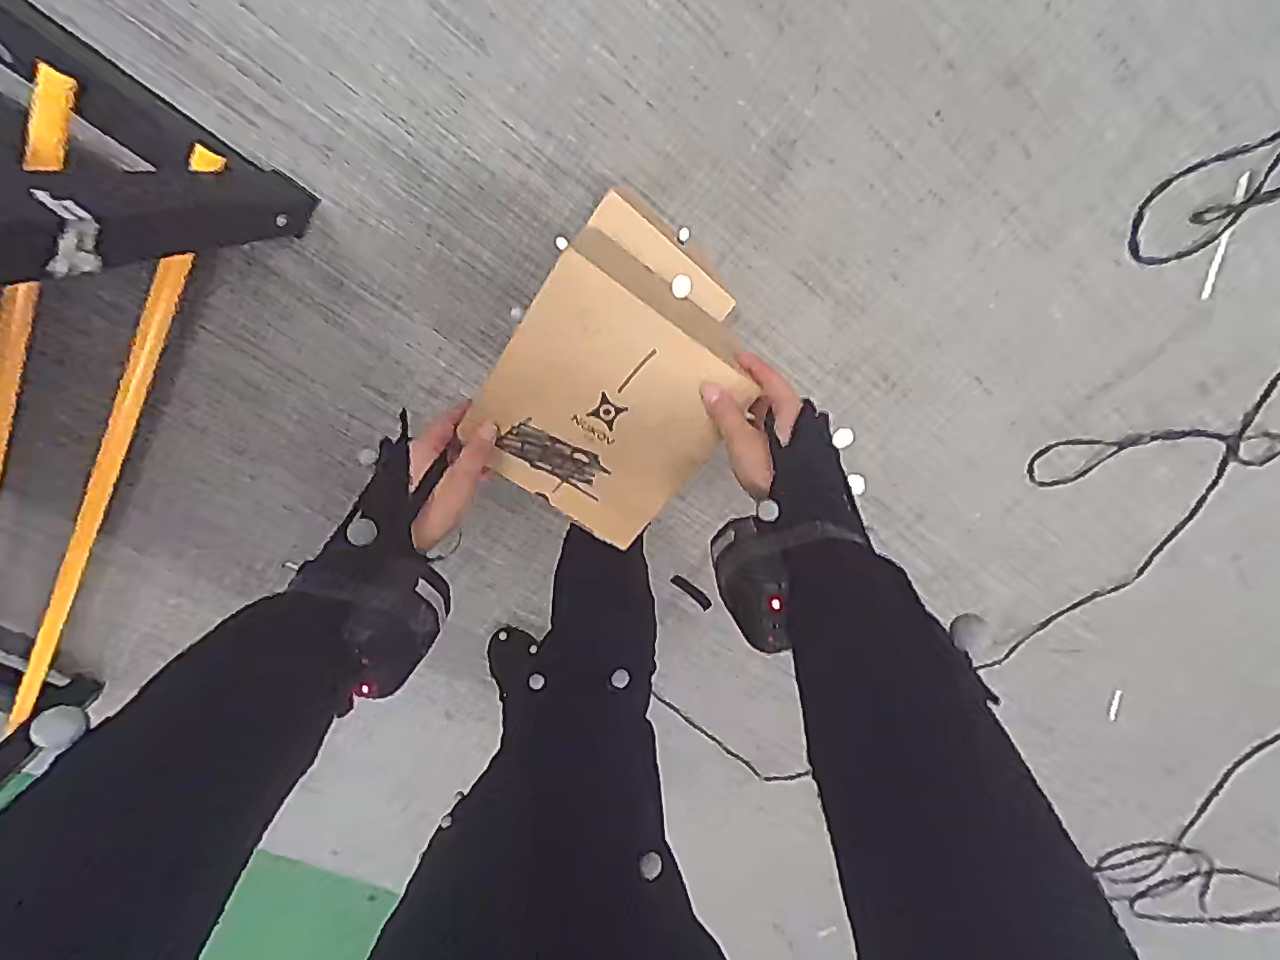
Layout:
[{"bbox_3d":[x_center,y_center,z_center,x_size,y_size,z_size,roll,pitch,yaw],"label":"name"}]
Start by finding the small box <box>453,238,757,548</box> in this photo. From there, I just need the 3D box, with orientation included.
[{"bbox_3d":[-0.026,-0.082,0.468,0.168,0.176,0.179,33,114,-15],"label":"small box"}]

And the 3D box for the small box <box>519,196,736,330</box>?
[{"bbox_3d":[-0.015,-0.208,0.638,0.168,0.176,0.179,36,114,-17],"label":"small box"}]
